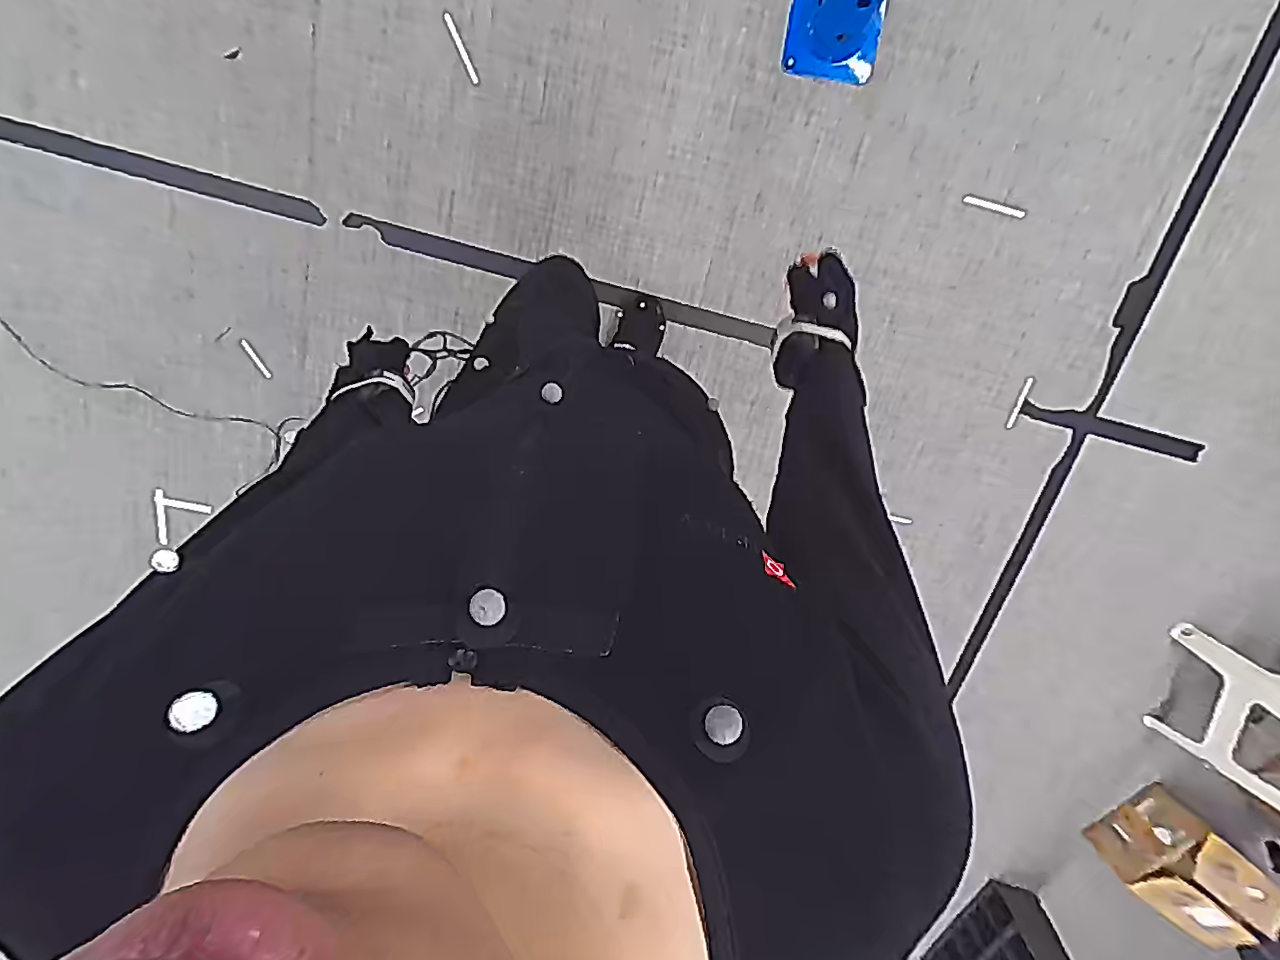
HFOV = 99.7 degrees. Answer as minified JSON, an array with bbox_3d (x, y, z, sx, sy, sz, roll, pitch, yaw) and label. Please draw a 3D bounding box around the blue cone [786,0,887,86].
[{"bbox_3d":[0.418,-0.914,1.002,0.193,0.380,0.192,9,108,-3],"label":"blue cone"}]
